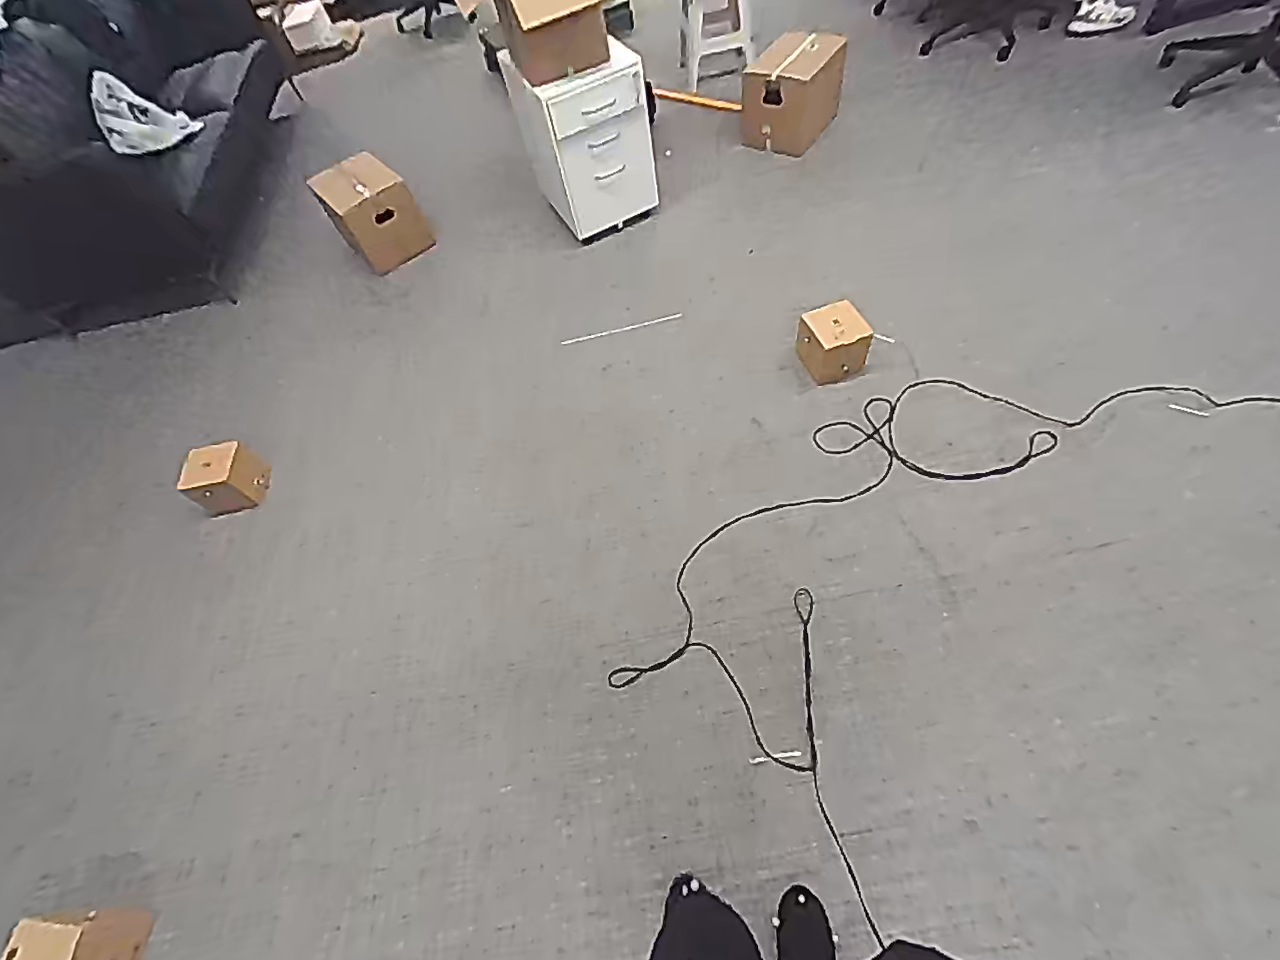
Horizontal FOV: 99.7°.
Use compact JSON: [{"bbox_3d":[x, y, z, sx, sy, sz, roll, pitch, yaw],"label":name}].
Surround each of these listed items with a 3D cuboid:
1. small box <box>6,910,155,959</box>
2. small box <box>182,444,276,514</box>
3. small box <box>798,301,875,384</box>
[{"bbox_3d":[-1.236,1.062,1.181,0.179,0.176,0.168,-1,58,9],"label":"small box"},{"bbox_3d":[-1.421,0.003,1.882,0.179,0.176,0.168,-11,58,2],"label":"small box"},{"bbox_3d":[0.637,-0.447,1.778,0.168,0.176,0.179,-19,58,-2],"label":"small box"}]
